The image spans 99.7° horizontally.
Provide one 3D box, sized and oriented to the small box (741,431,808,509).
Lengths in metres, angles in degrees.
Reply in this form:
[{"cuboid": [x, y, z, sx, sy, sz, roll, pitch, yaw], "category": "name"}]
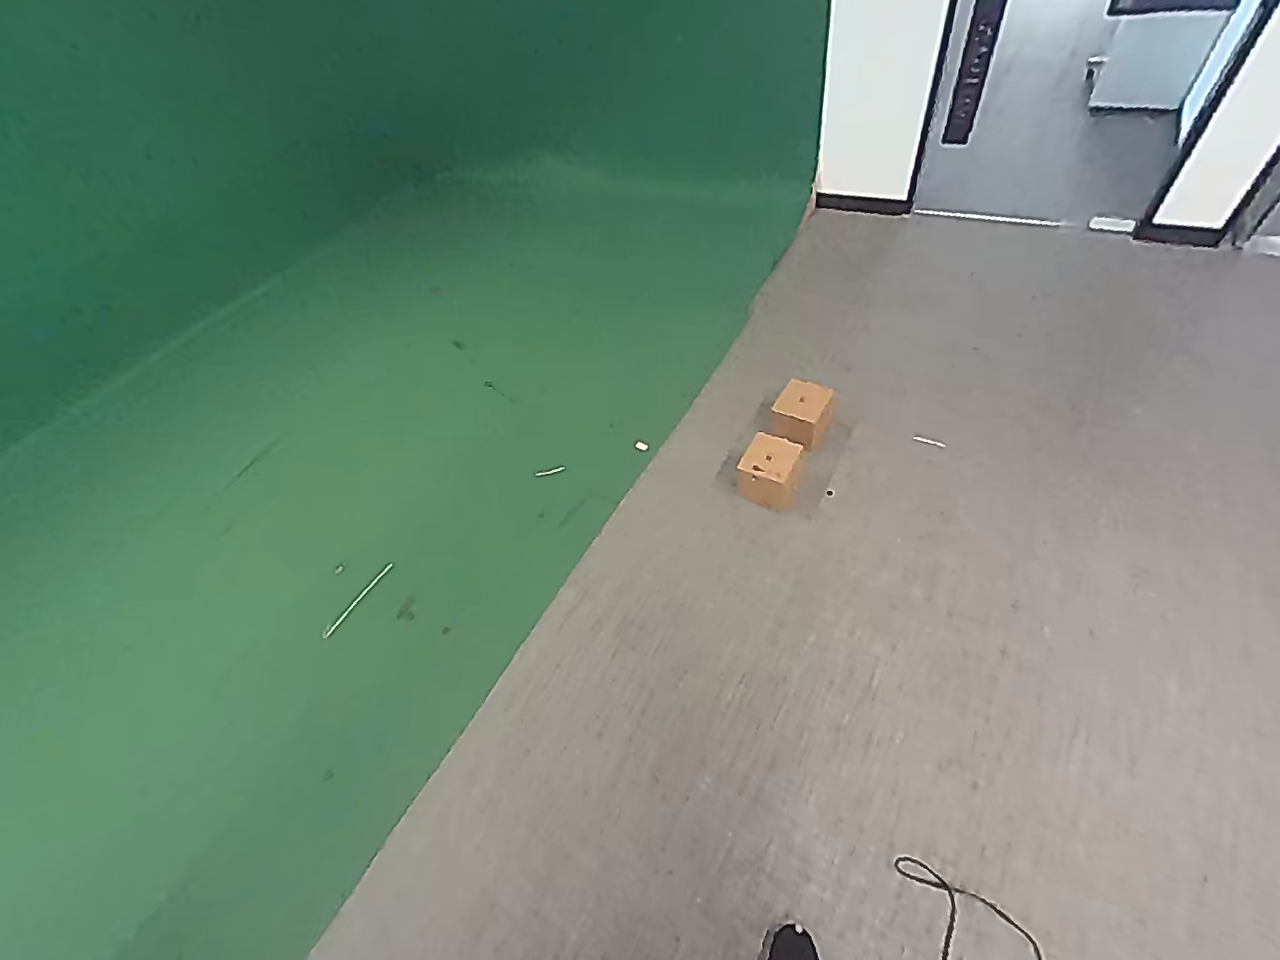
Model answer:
[{"cuboid": [0.457, -0.033, 1.847, 0.168, 0.176, 0.179, 21, 60, 27], "category": "small box"}]
